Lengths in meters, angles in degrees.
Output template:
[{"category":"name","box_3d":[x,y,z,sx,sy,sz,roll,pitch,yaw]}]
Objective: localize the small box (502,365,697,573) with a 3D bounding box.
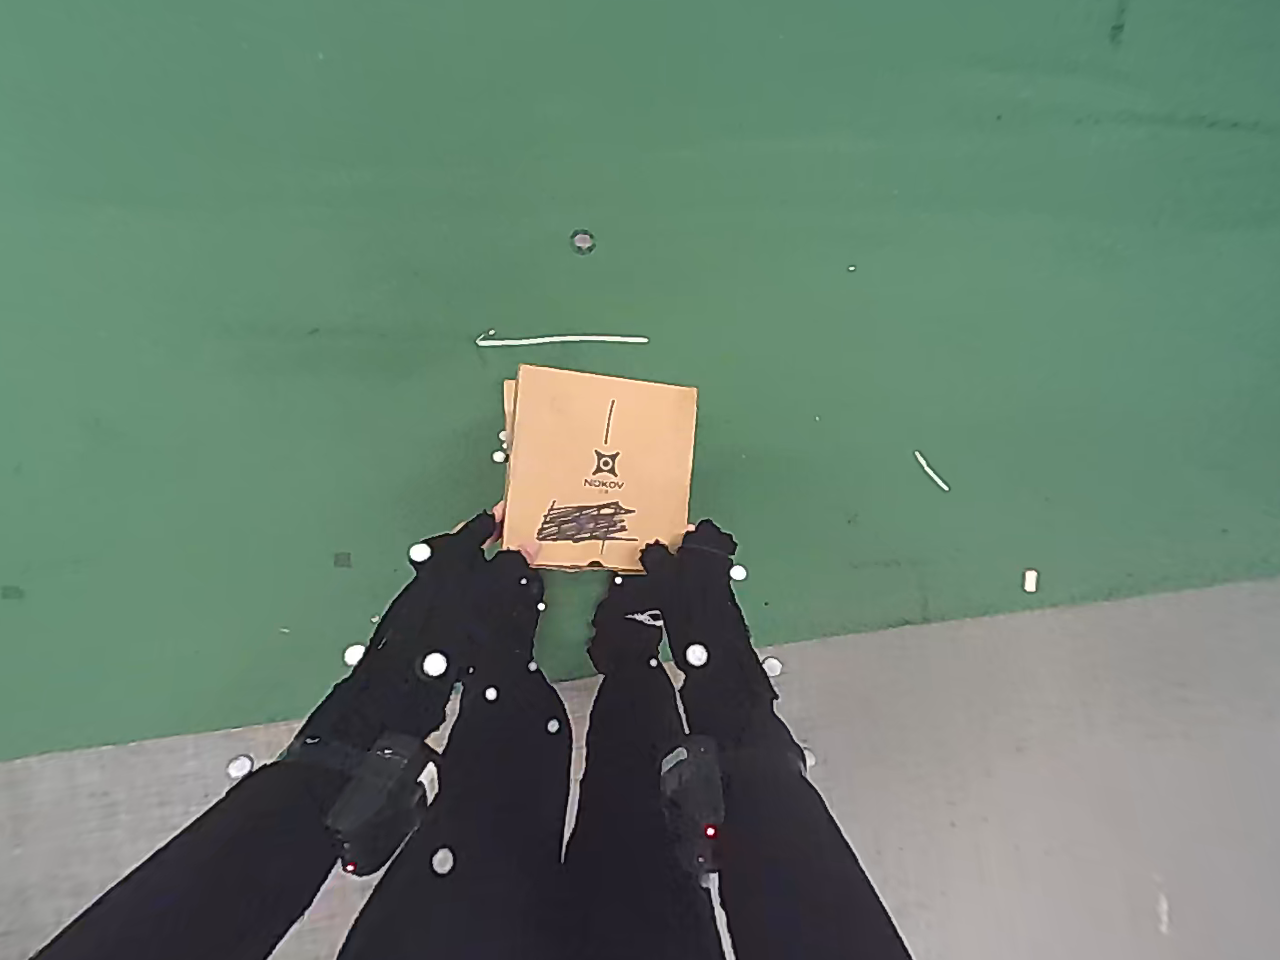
[{"category":"small box","box_3d":[-0.051,-0.007,0.568,0.168,0.176,0.179,5,88,-14]}]
